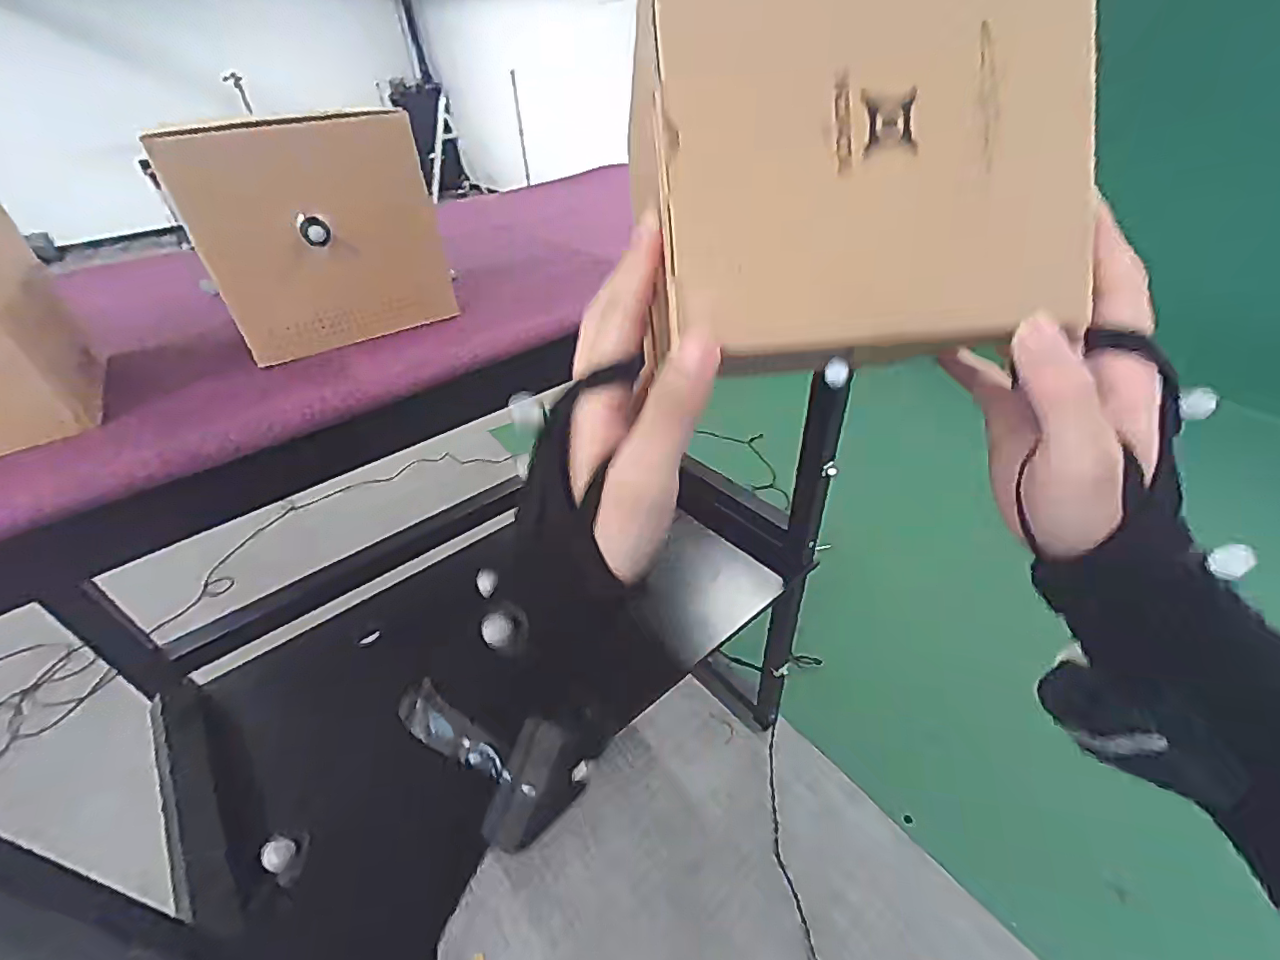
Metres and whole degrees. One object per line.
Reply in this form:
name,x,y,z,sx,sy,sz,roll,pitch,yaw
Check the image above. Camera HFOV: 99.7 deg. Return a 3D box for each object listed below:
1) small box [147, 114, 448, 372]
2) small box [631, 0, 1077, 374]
small box,-0.292,-0.221,0.490,0.179,0.176,0.168,-26,42,-25
small box,0.086,-0.153,0.296,0.179,0.168,0.176,-5,6,-3
